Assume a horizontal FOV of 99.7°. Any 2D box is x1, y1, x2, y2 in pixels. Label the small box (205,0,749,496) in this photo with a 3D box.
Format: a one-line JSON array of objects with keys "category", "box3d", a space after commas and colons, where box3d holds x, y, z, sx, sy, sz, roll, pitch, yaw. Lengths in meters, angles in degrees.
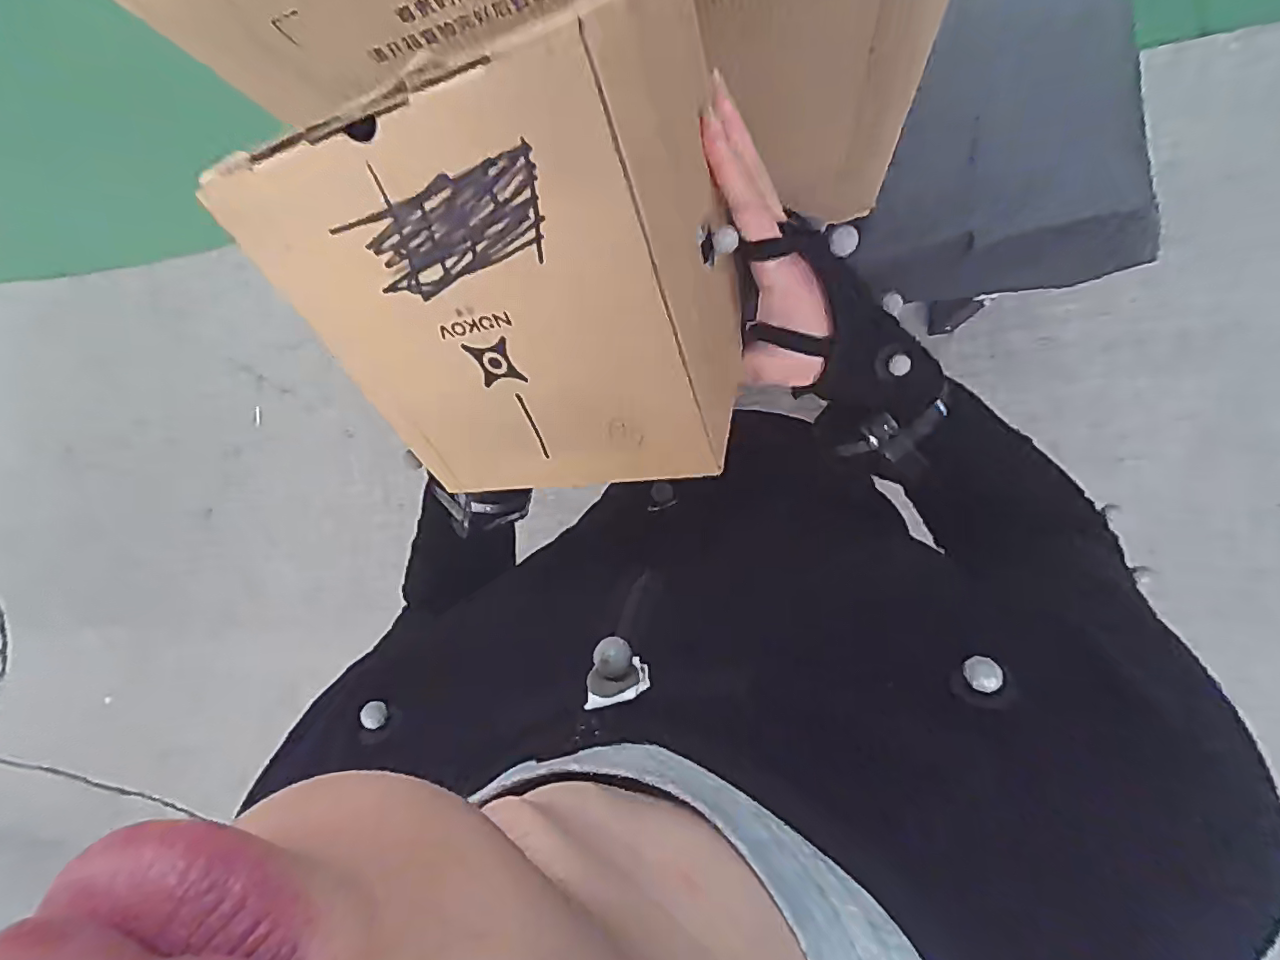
[{"category": "small box", "box3d": [-0.045, -0.113, 0.278, 0.168, 0.179, 0.176, -3, 46, 23]}]
